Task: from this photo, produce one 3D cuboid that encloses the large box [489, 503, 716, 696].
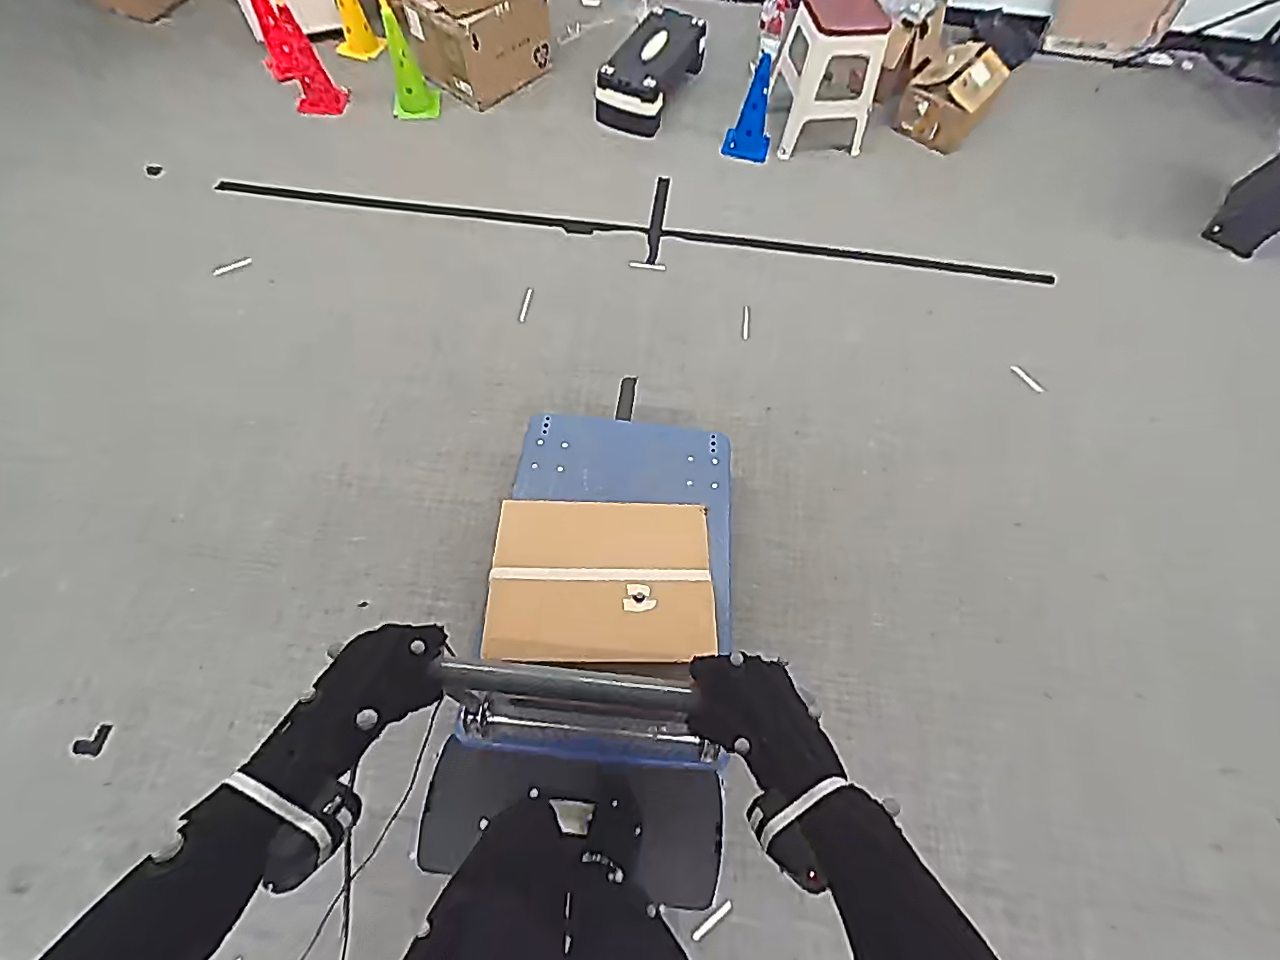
[{"bbox_3d":[-0.079,0.261,1.141,0.408,0.320,0.320,2,57,-4],"label":"large box"}]
